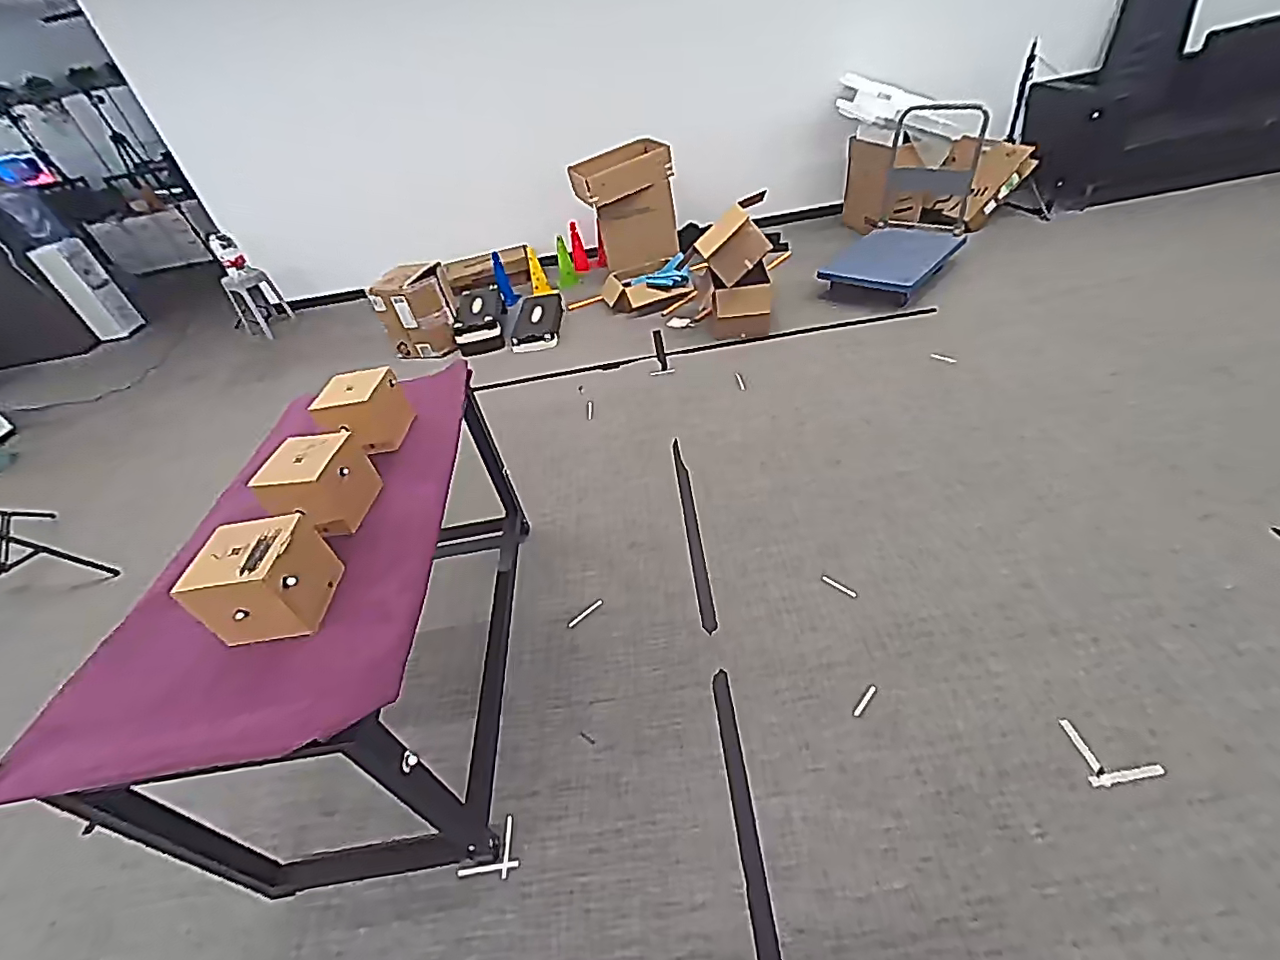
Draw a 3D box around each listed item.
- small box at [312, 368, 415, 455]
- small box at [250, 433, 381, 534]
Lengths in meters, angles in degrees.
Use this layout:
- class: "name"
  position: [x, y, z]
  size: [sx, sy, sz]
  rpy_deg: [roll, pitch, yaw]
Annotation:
- class: "small box"
  position: [-0.747, -0.180, 1.484]
  size: [0.168, 0.176, 0.179]
  rpy_deg: [-8, 40, 5]
- class: "small box"
  position: [-0.737, 0.014, 1.255]
  size: [0.168, 0.176, 0.179]
  rpy_deg: [-4, 40, 7]
